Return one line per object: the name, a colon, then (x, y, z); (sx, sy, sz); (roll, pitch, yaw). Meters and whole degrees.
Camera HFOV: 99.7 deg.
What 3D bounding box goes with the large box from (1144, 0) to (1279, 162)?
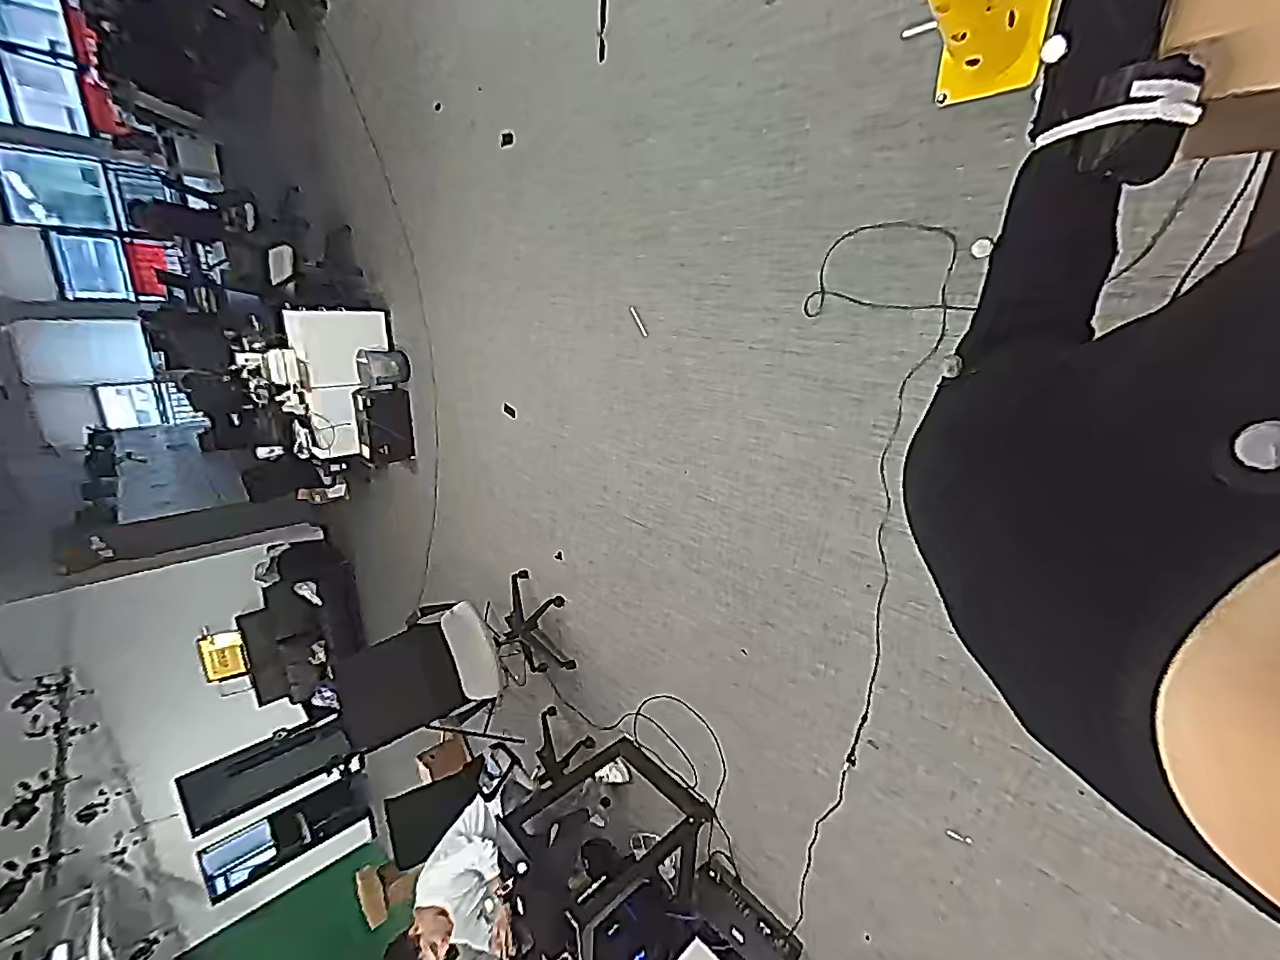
large box: (0.593, -0.397, 0.292); (0.408, 0.320, 0.320); (20, 119, 43)
